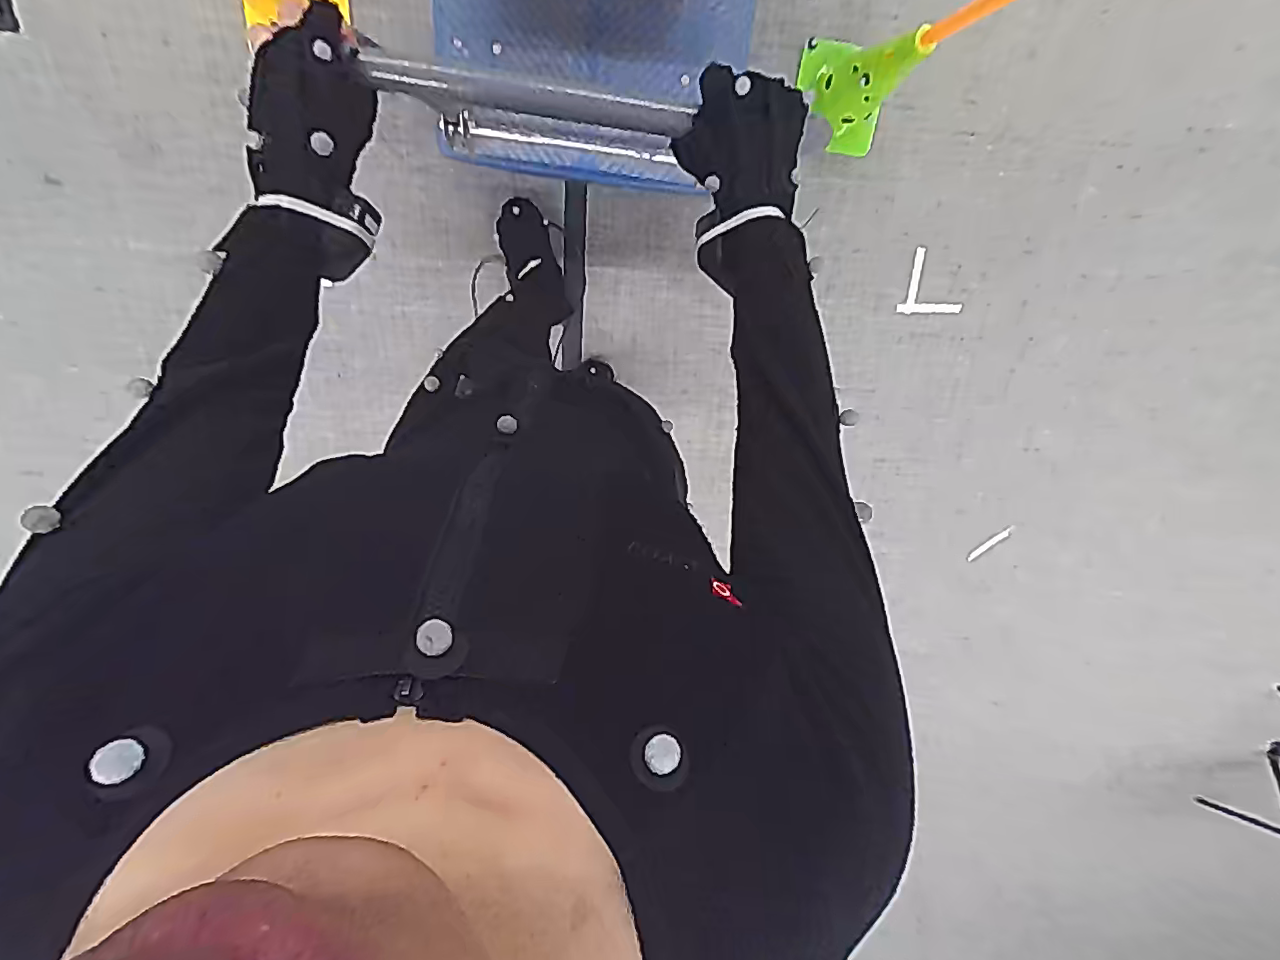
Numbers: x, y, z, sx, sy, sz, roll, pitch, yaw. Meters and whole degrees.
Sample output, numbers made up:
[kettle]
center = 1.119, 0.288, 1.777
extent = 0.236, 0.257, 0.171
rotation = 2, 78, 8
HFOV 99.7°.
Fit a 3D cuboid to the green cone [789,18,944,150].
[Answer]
[green cone]
center = 0.456, -0.794, 1.044
extent = 0.202, 0.368, 0.200
rotation = 5, 112, -8
